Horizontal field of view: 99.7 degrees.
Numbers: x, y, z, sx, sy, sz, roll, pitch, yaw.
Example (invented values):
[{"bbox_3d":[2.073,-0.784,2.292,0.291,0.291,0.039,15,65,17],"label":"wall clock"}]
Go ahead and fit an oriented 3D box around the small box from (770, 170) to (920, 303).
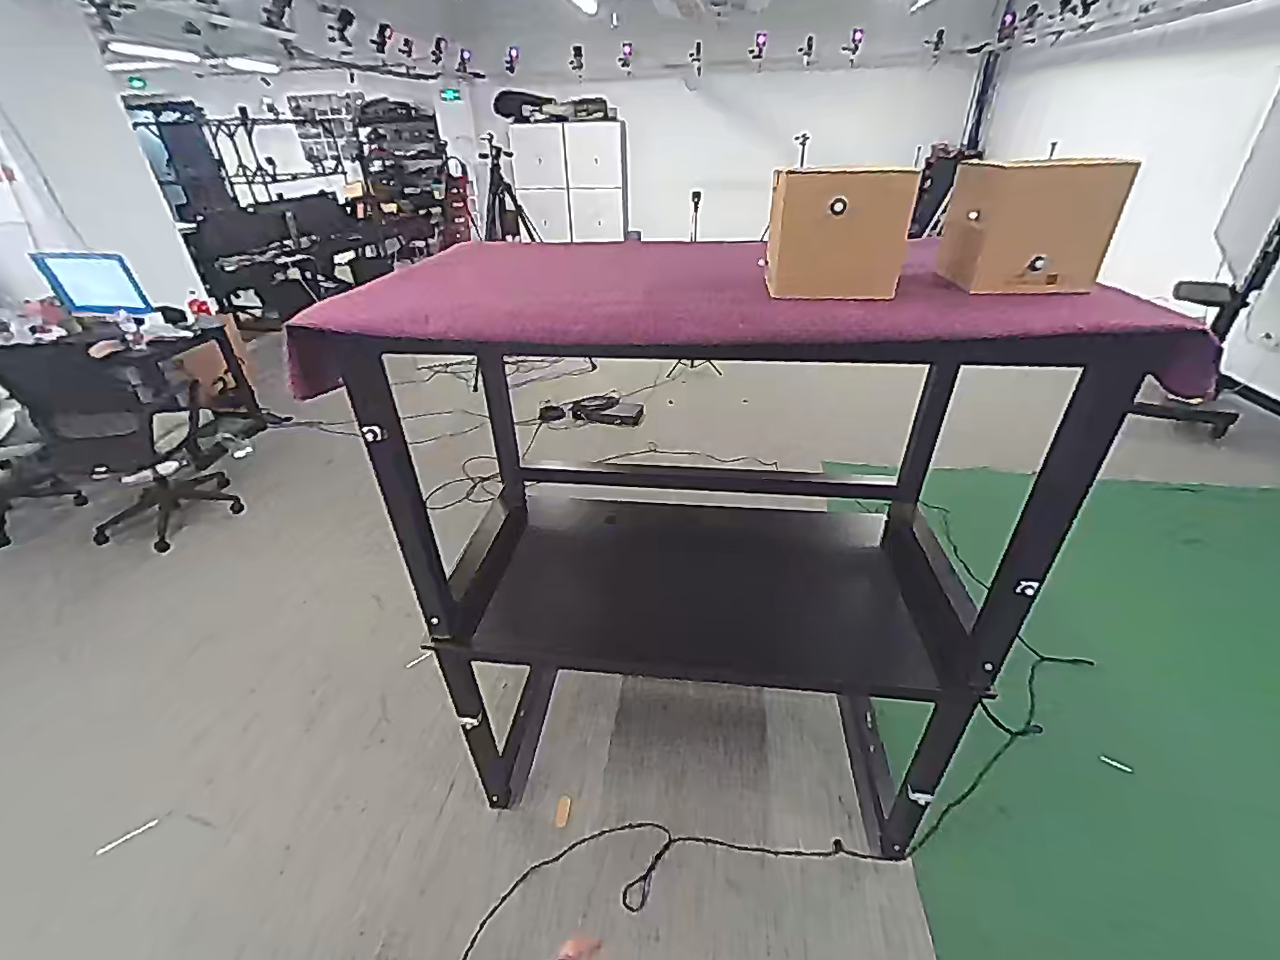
[{"bbox_3d":[0.294,-0.370,0.821,0.179,0.176,0.168,3,32,7],"label":"small box"}]
